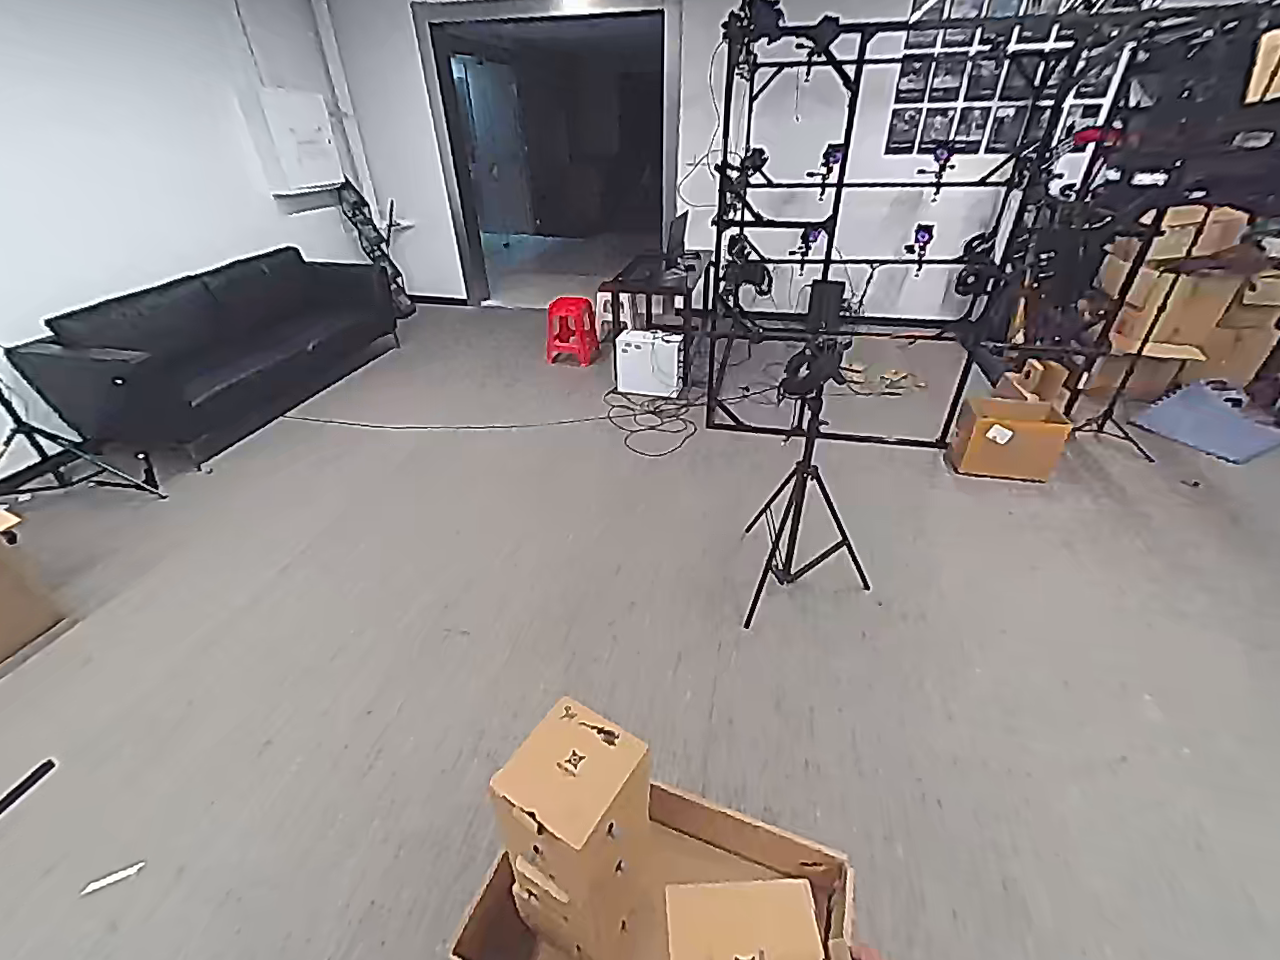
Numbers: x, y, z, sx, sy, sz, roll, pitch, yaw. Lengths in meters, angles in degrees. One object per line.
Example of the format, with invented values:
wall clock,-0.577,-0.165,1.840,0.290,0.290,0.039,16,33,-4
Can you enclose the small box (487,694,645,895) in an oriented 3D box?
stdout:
small box,-0.101,0.478,0.827,0.168,0.176,0.179,19,38,28

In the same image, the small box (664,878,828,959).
small box,0.121,0.595,0.632,0.179,0.176,0.168,-2,34,-1

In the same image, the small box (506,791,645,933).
small box,-0.098,0.612,0.921,0.168,0.176,0.179,16,36,25
